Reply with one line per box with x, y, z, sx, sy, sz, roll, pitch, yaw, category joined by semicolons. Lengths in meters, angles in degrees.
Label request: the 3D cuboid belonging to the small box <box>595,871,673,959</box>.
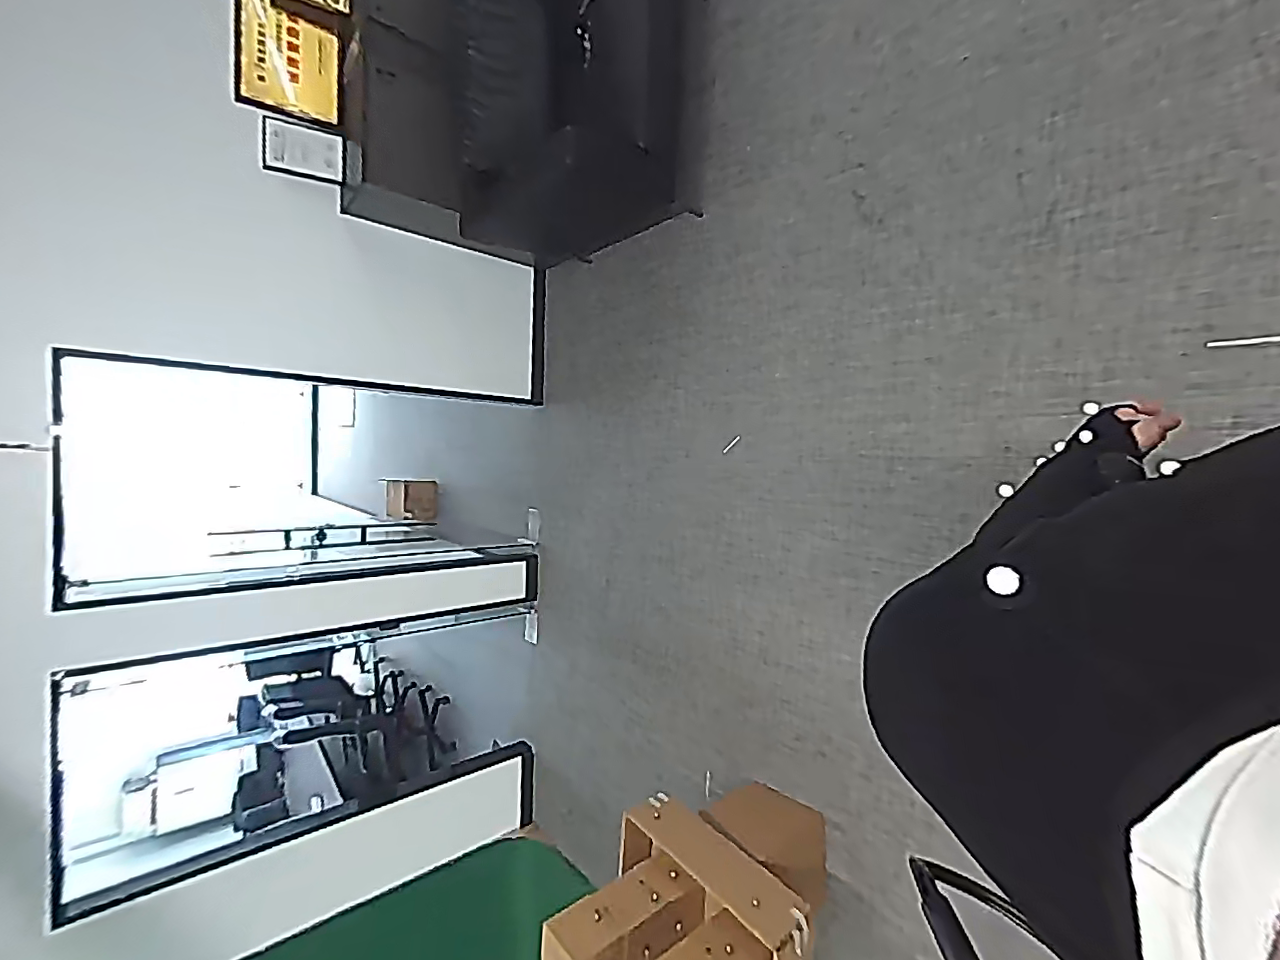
-0.015;1.320;1.603;0.168;0.176;0.179;6;96;49;small box

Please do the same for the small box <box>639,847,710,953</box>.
0.106;1.318;1.714;0.168;0.176;0.179;8;97;48;small box

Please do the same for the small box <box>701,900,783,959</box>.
0.280;1.341;1.508;0.168;0.176;0.179;11;99;49;small box

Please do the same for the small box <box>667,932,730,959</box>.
0.158;1.339;1.398;0.168;0.176;0.179;13;100;50;small box
